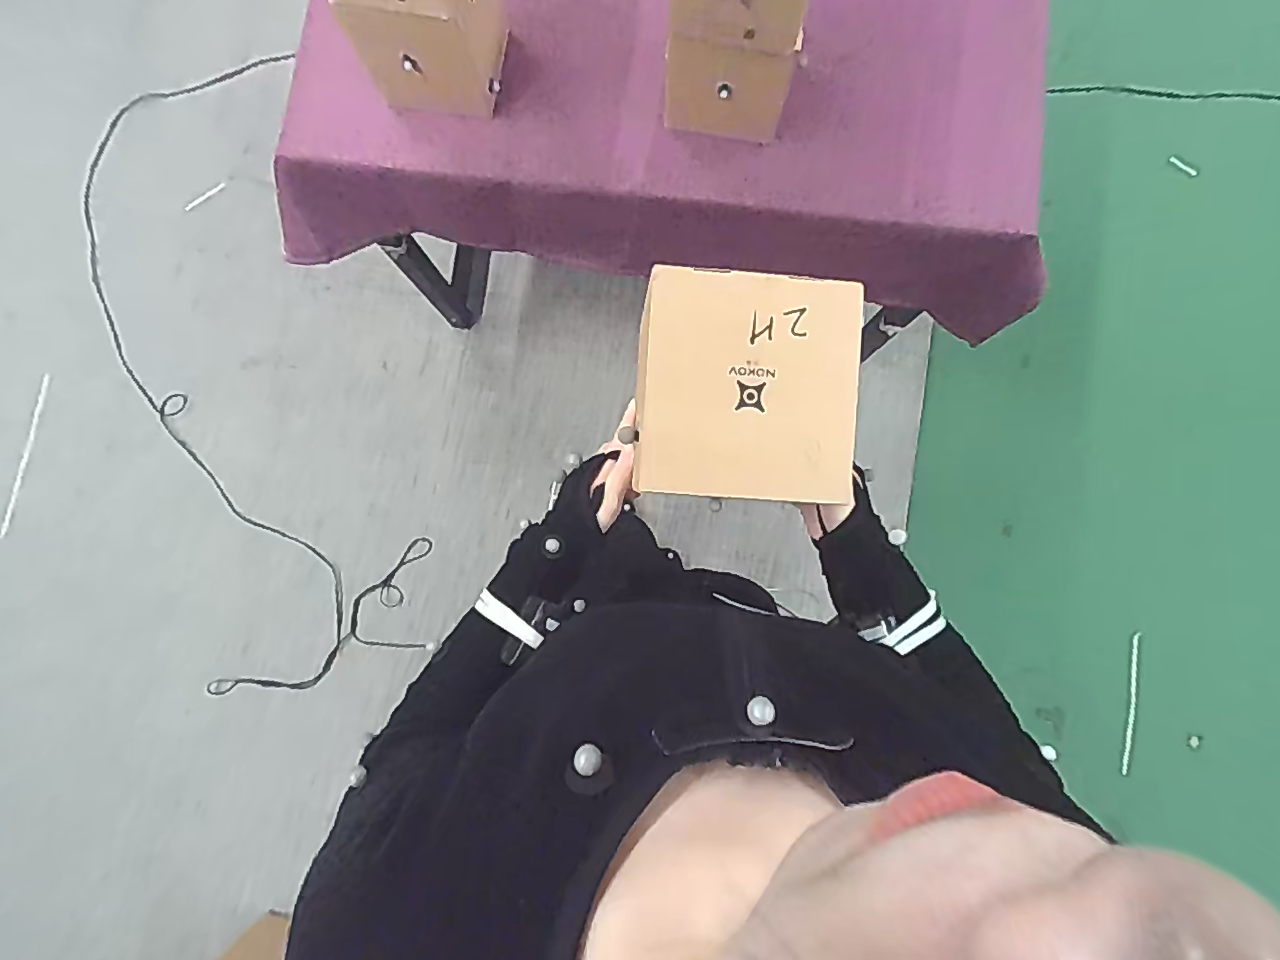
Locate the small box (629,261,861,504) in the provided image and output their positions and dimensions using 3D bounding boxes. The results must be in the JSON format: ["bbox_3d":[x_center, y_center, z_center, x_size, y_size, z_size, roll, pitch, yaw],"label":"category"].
[{"bbox_3d":[0.079,-0.075,0.495,0.168,0.176,0.179,4,90,-4],"label":"small box"}]

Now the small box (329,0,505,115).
[{"bbox_3d":[-0.311,-0.679,0.796,0.179,0.176,0.168,8,83,2],"label":"small box"}]

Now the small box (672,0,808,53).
[{"bbox_3d":[0.133,-0.649,0.625,0.168,0.176,0.179,13,84,2],"label":"small box"}]
